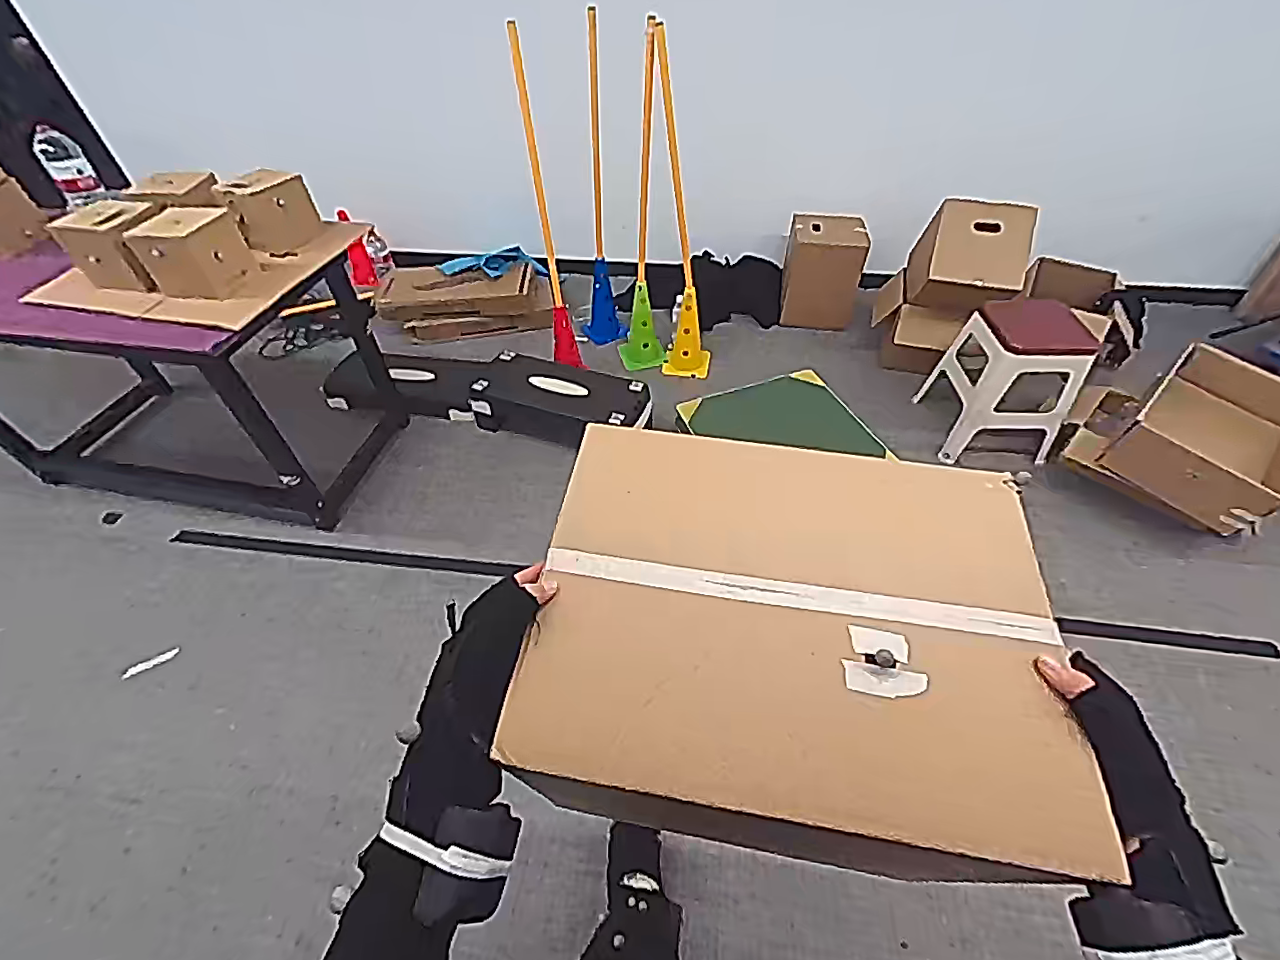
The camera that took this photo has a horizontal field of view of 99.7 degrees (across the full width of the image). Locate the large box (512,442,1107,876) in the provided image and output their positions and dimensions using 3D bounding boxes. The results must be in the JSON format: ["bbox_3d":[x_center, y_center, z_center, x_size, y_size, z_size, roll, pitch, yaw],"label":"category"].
[{"bbox_3d":[0.125,0.192,0.567,0.408,0.320,0.320,8,55,6],"label":"large box"}]
